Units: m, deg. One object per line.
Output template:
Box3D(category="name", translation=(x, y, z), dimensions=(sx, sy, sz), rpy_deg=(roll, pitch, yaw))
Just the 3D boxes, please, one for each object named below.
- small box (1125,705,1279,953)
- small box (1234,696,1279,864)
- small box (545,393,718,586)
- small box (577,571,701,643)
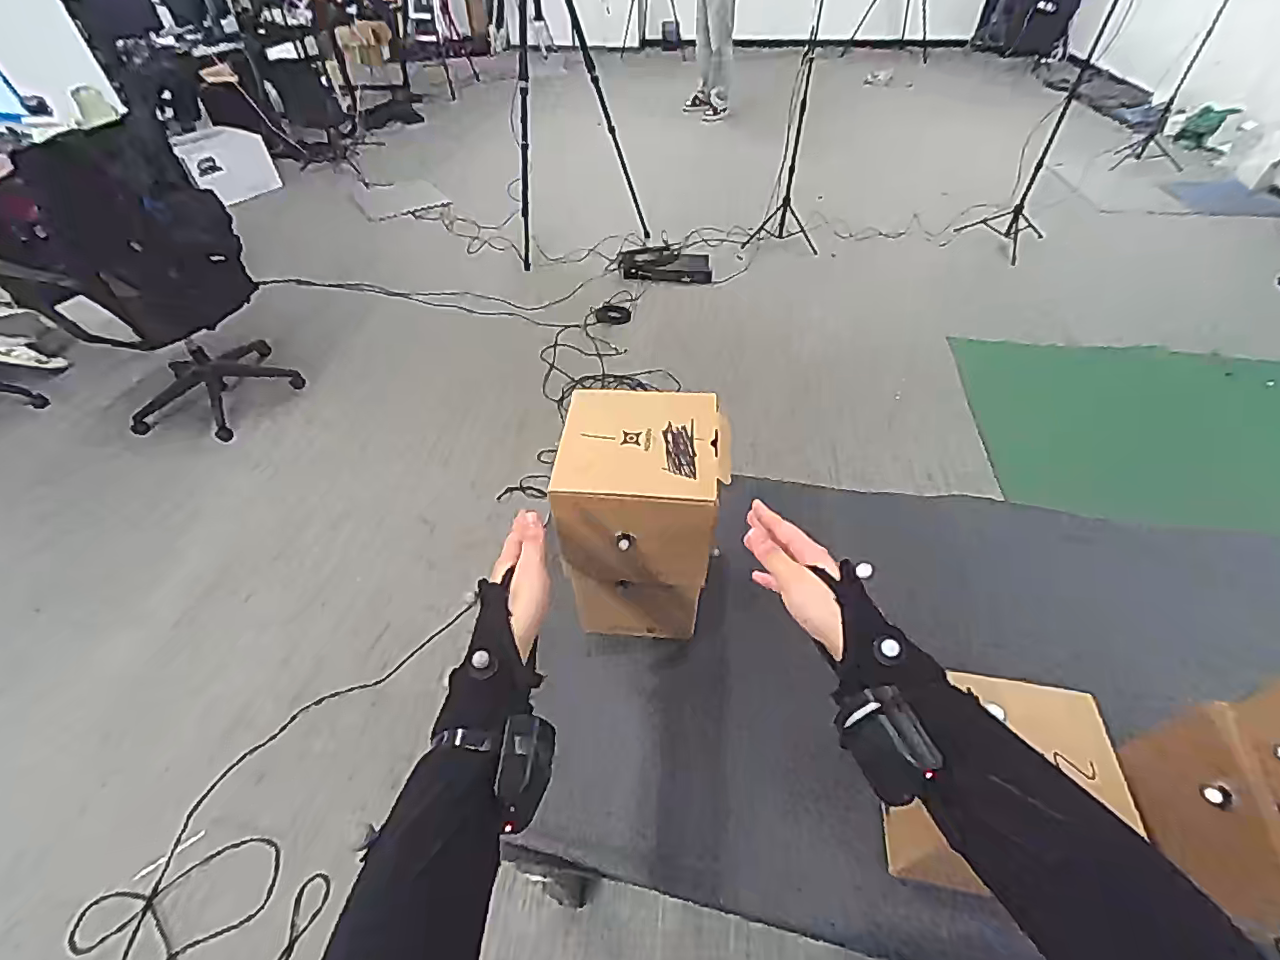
Box3D(category="small box", translation=(0.653, 0.356, 0.543), dimensions=(0.168, 0.176, 0.179), rpy_deg=(6, 47, 8))
Box3D(category="small box", translation=(0.646, 0.253, 0.417), dimensions=(0.179, 0.176, 0.168), rpy_deg=(13, 48, 16))
Box3D(category="small box", translation=(-0.001, 0.015, 0.656), dimensions=(0.179, 0.176, 0.168), rpy_deg=(3, 49, 5))
Box3D(category="small box", translation=(0.003, 0.113, 0.788), dimensions=(0.168, 0.176, 0.179), rpy_deg=(3, 48, 4))
